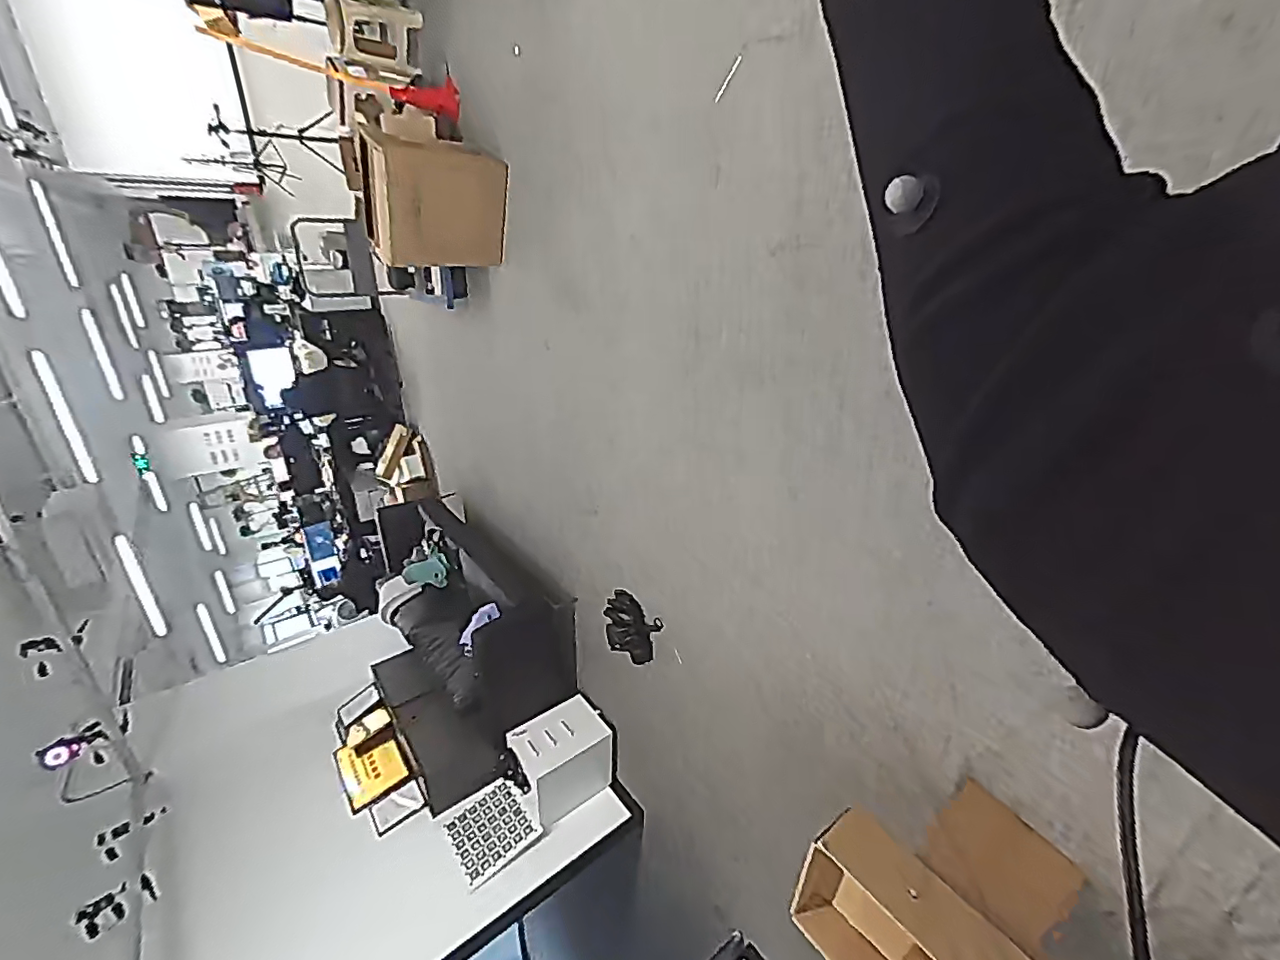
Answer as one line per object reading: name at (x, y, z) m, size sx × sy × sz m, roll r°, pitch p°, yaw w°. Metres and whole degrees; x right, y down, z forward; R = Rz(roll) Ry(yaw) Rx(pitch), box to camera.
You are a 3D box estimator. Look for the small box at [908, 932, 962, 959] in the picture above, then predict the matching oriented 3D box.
small box at (0.721, 1.261, 1.313) m, size 0.168 × 0.176 × 0.179 m, roll 36°, pitch 134°, yaw 45°
